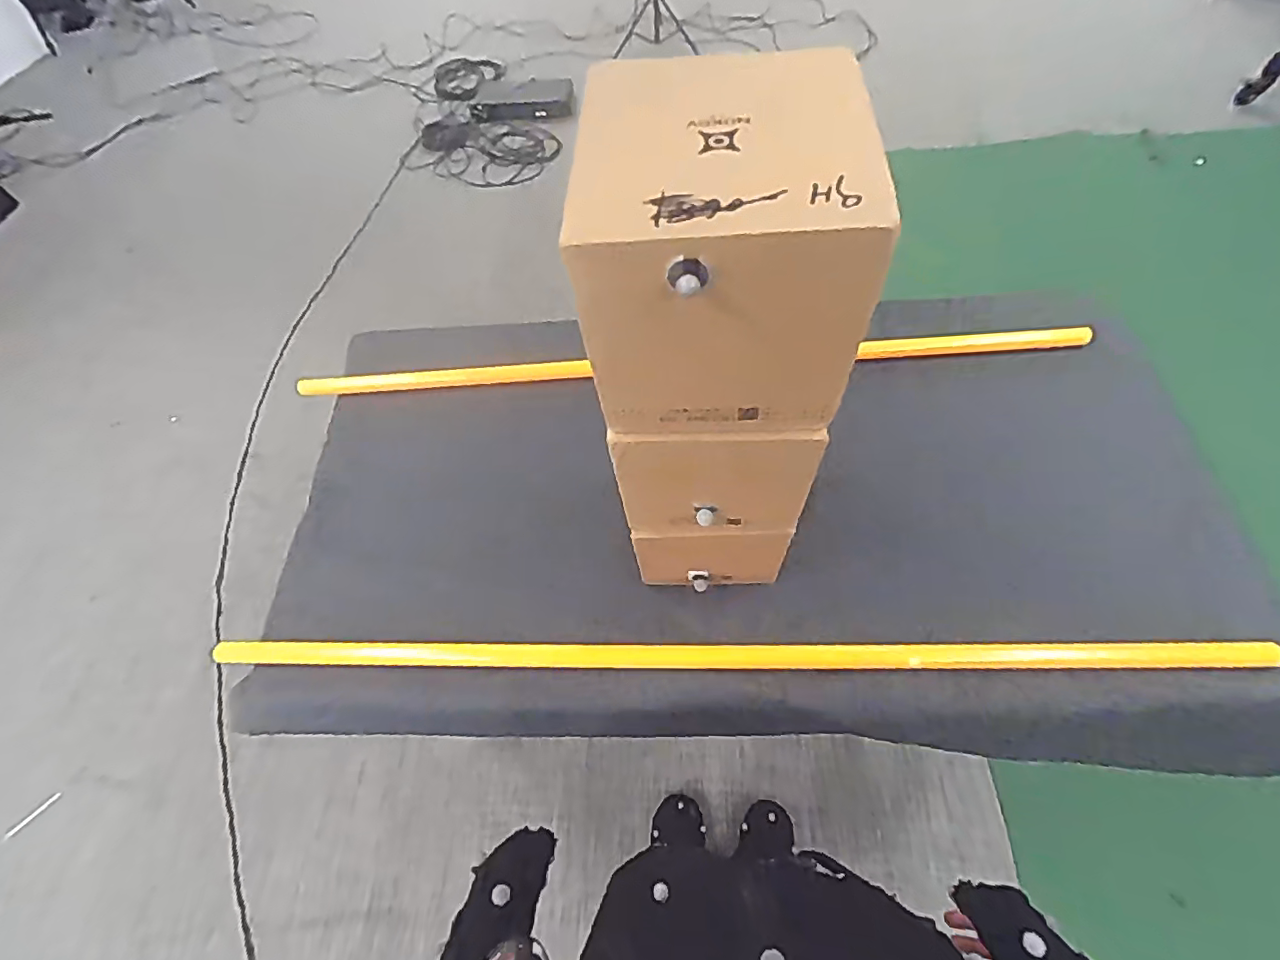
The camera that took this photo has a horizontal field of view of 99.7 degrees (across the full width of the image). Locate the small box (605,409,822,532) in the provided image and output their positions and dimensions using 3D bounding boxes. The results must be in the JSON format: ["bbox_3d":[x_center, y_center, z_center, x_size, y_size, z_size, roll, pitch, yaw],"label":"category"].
[{"bbox_3d":[0.066,-0.065,0.515,0.168,0.176,0.179,0,62,7],"label":"small box"}]

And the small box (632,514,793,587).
[{"bbox_3d":[0.080,0.019,0.656,0.168,0.176,0.179,-4,62,5],"label":"small box"}]

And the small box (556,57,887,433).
[{"bbox_3d":[0.051,-0.151,0.376,0.168,0.176,0.179,-1,60,7],"label":"small box"}]
